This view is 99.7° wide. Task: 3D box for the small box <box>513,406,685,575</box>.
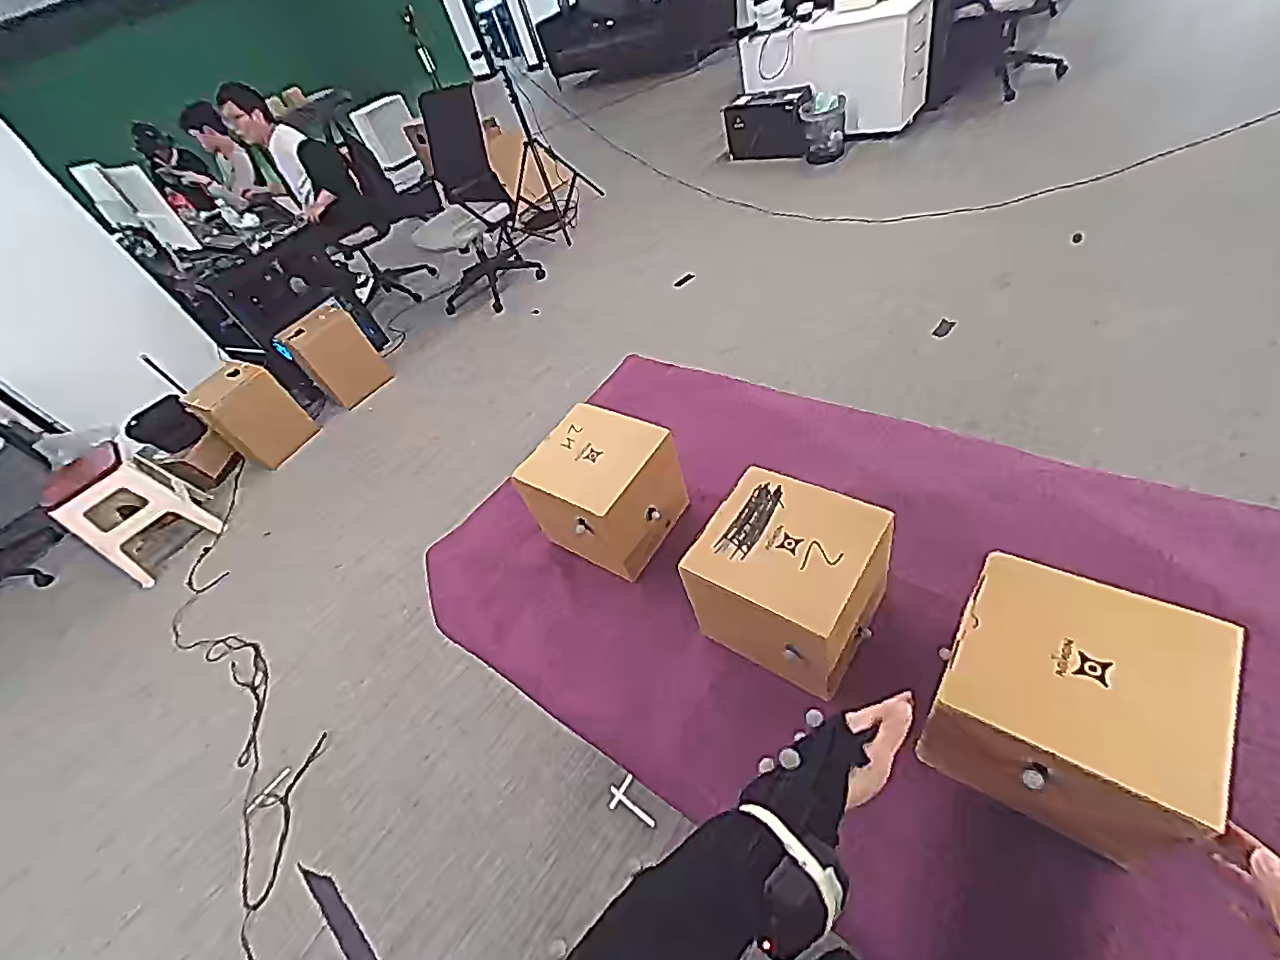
[{"bbox_3d":[-0.050,0.019,0.819,0.179,0.176,0.168,21,59,32],"label":"small box"}]
